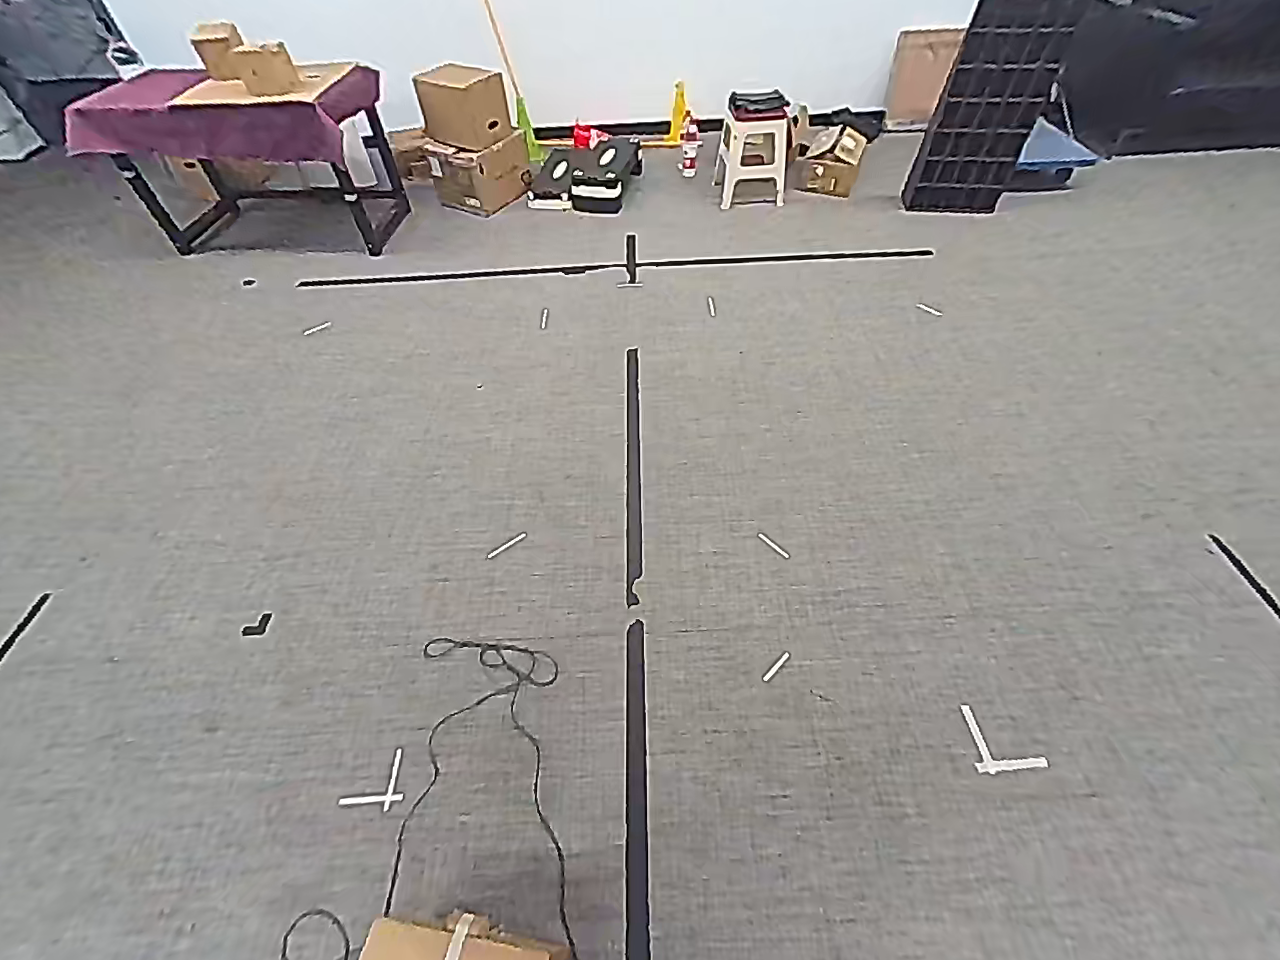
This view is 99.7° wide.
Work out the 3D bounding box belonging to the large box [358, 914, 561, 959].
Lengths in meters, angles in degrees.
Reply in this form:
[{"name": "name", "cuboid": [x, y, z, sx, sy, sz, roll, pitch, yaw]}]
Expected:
[{"name": "large box", "cuboid": [-0.341, 1.017, 0.920, 0.320, 0.320, 0.408, 7, 52, 7]}]
